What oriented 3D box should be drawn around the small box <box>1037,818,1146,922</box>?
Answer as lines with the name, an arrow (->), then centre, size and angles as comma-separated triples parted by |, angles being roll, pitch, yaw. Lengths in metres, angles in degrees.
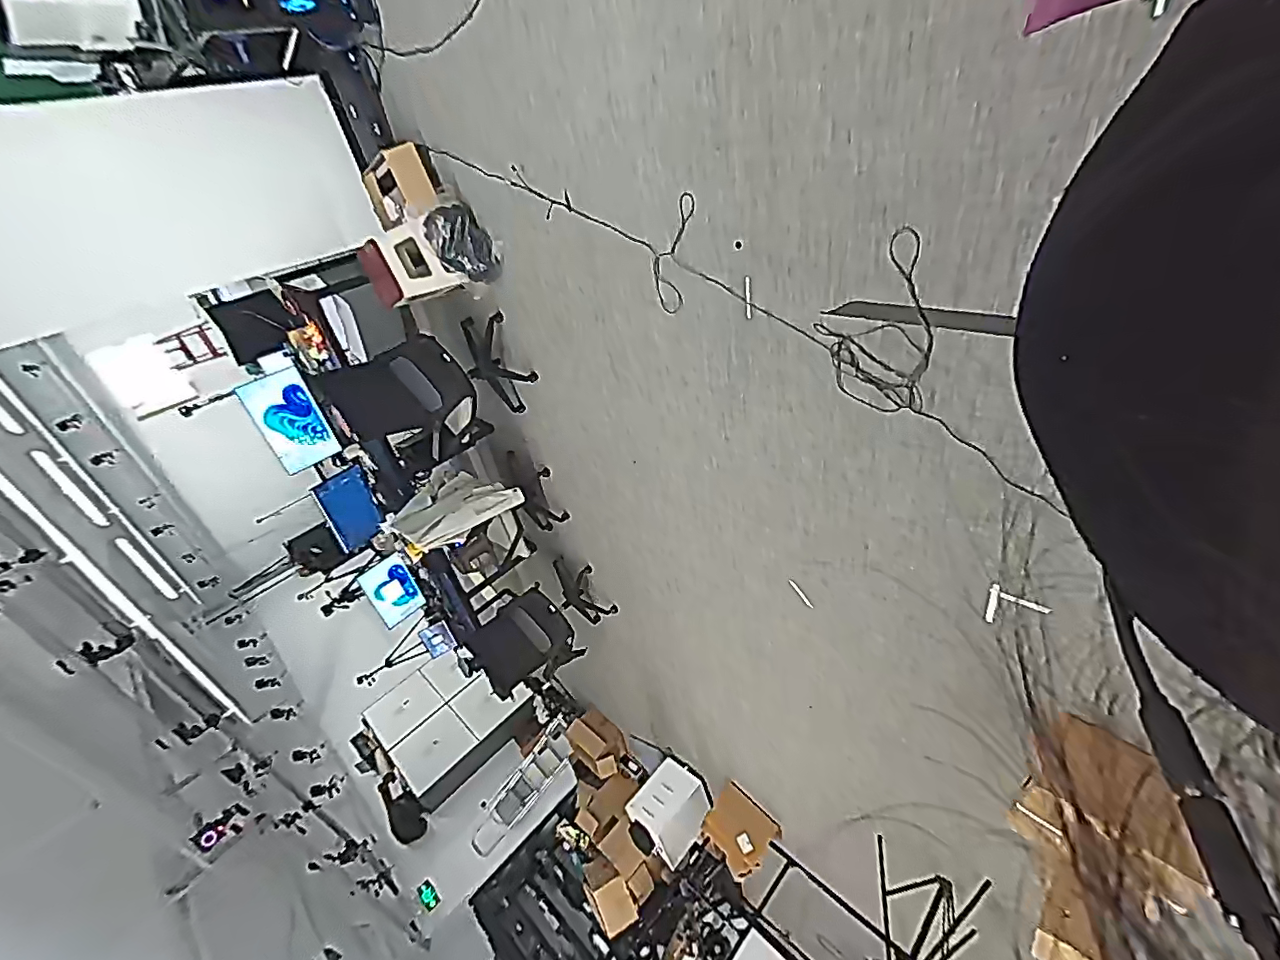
small box -> 1.283, 1.113, 1.535 | 0.179, 0.176, 0.168 | 30, 141, 34

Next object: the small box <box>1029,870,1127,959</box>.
small box -> 1.178, 1.209, 1.455 | 0.168, 0.176, 0.179 | 17, 134, 45
